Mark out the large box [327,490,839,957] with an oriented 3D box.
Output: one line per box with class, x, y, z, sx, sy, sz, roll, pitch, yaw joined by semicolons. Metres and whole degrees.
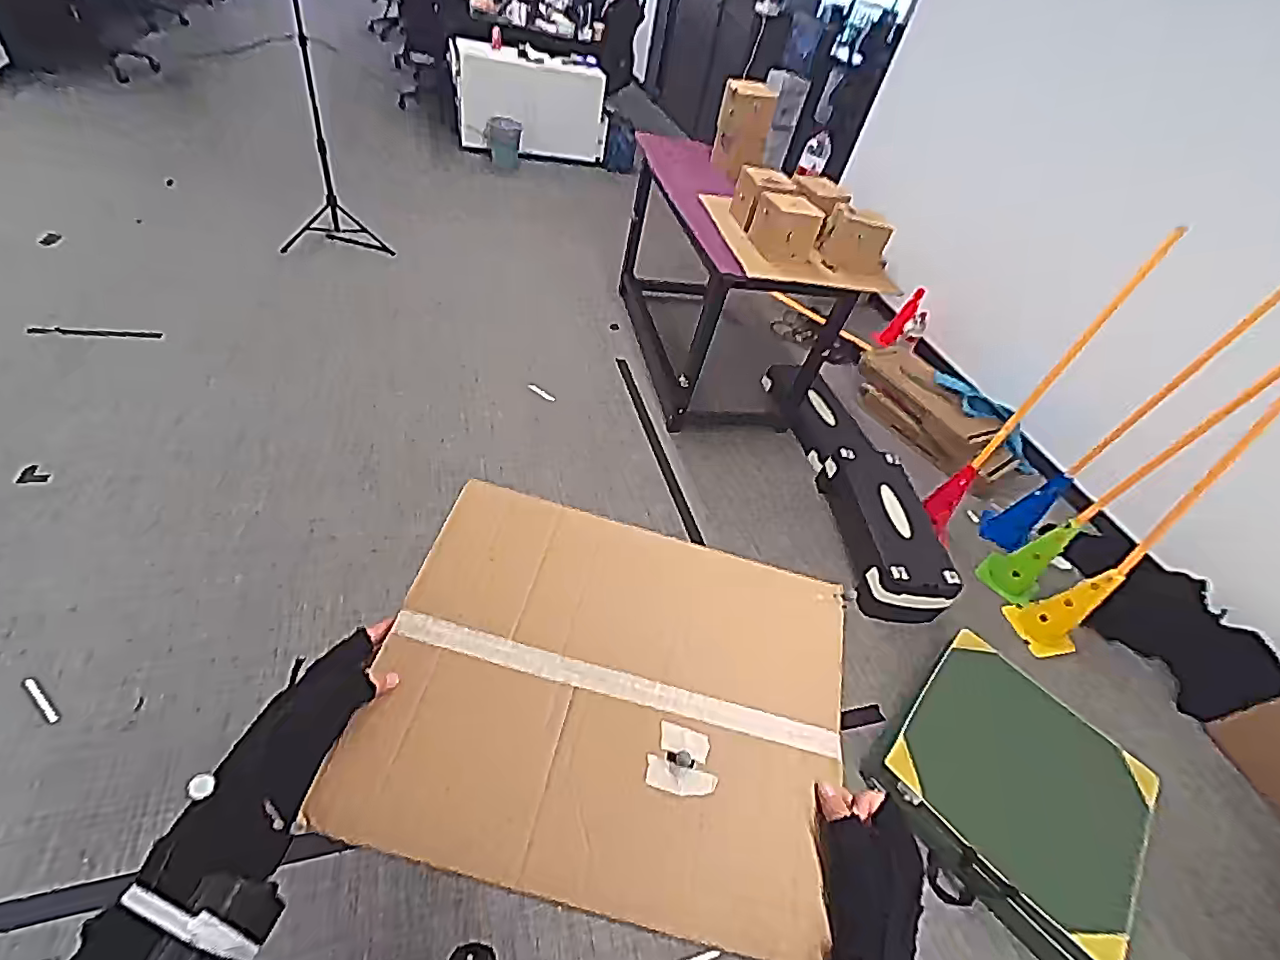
large box;-0.039;0.264;0.612;0.408;0.320;0.320;17;57;0
